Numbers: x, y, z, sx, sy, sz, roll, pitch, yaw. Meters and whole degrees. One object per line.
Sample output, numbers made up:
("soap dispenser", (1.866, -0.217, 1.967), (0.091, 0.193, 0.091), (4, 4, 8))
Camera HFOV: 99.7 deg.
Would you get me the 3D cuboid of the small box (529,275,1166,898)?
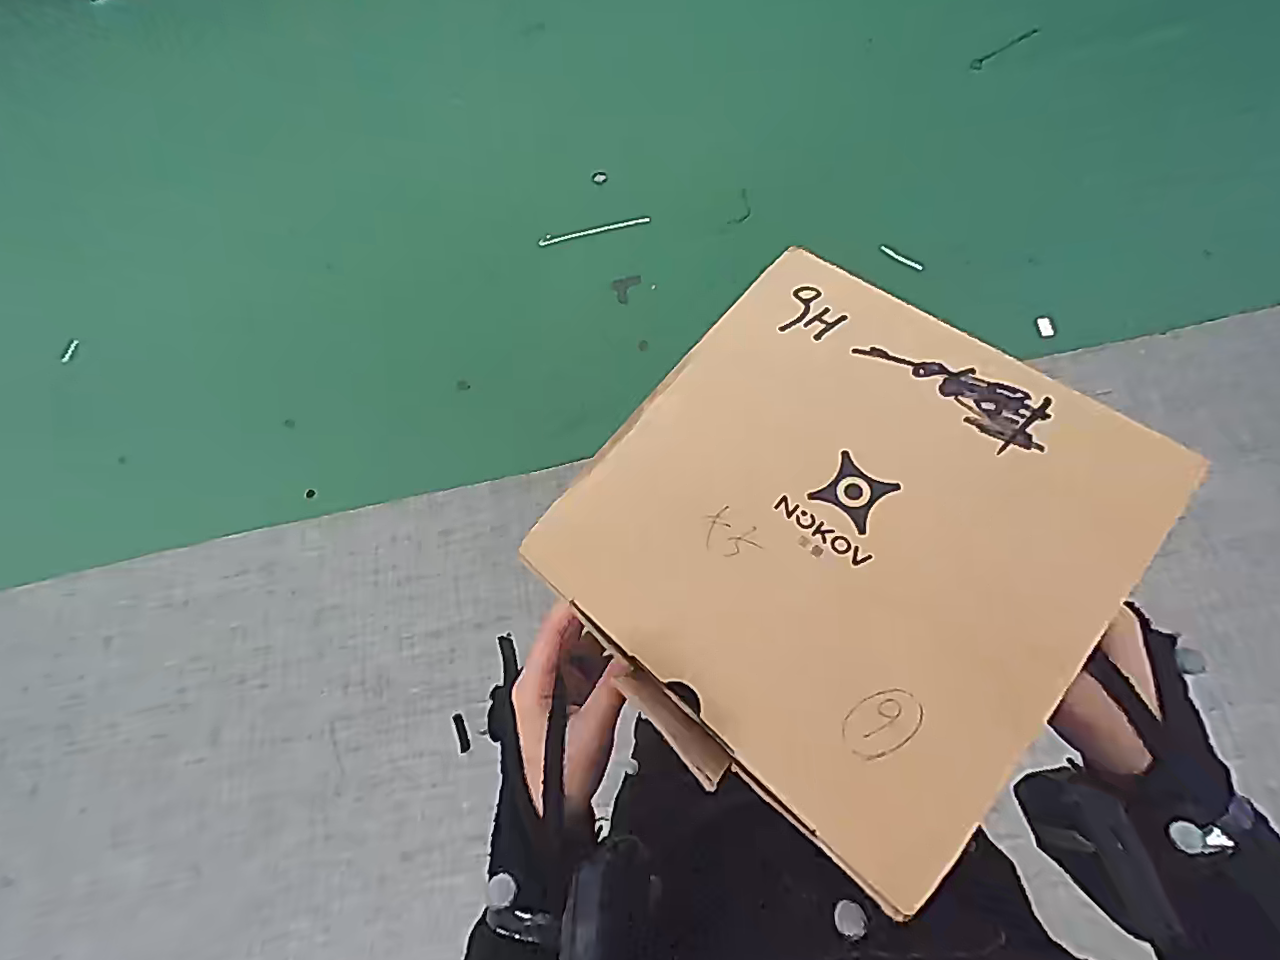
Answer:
("small box", (0.082, 0.045, 0.275), (0.168, 0.176, 0.179), (38, 80, 20))
